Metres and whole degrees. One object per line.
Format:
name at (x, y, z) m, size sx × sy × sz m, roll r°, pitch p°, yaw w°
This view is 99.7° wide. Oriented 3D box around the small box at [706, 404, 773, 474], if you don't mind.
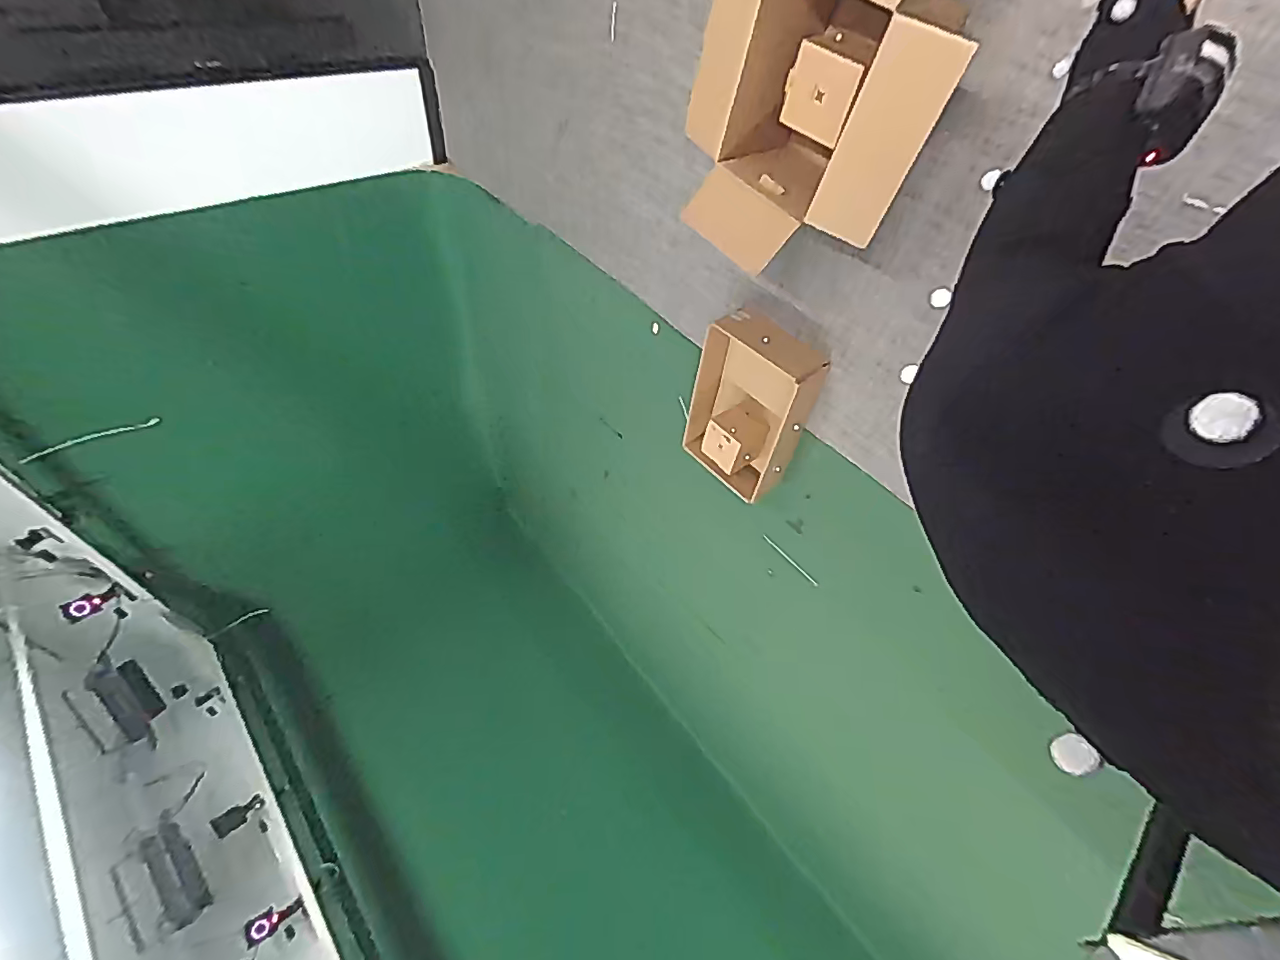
small box at (0.385, -0.162, 2.087) m, size 0.168 × 0.176 × 0.179 m, roll 46°, pitch 148°, yaw 27°
